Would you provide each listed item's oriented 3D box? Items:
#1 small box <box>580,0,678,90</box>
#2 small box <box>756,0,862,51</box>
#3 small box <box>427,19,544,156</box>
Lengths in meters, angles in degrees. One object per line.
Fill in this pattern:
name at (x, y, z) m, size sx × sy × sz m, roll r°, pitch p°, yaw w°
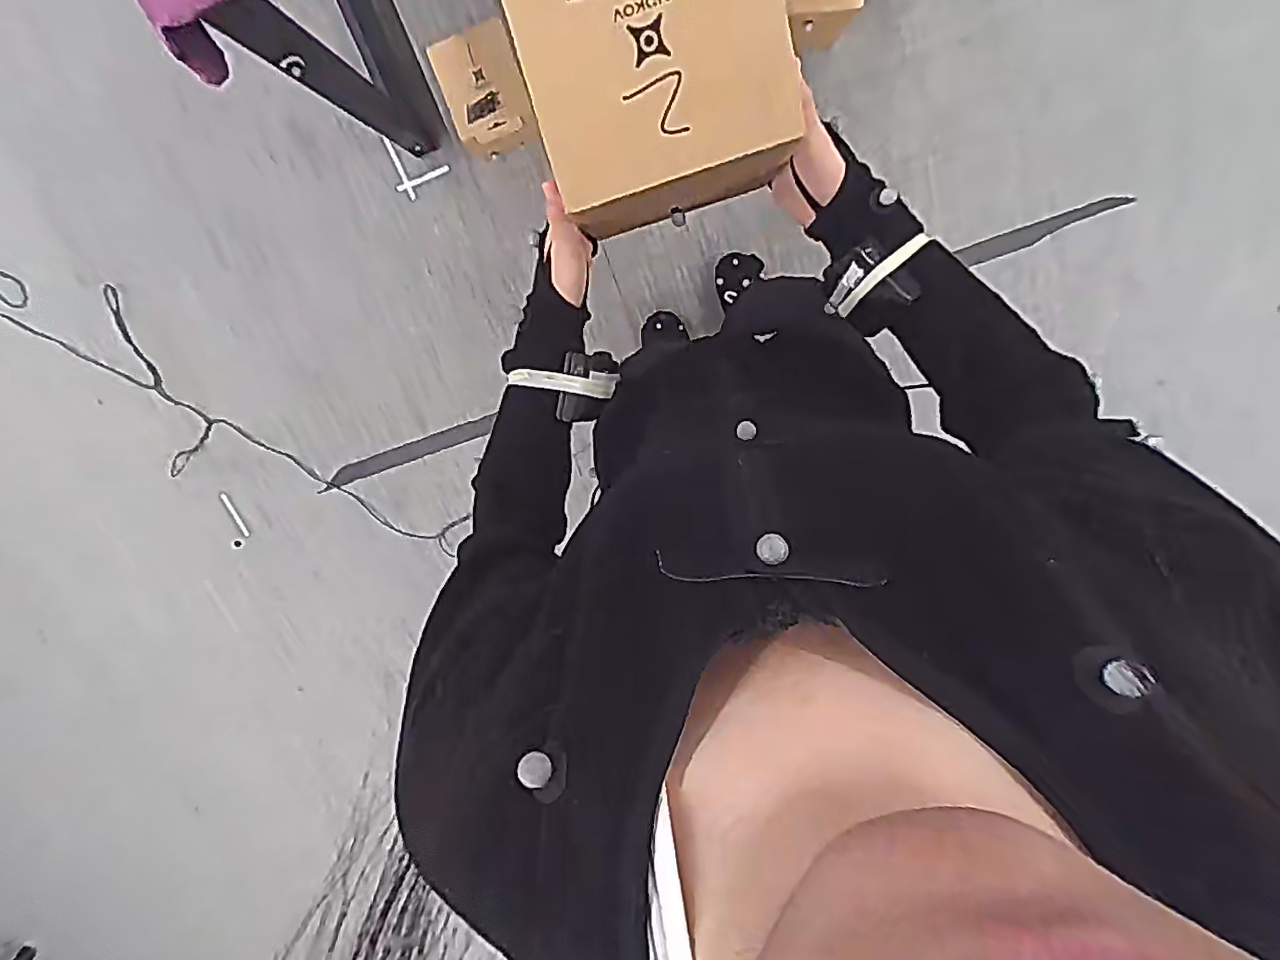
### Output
small box at (-0.025, -0.953, 1.127) m, size 0.168 × 0.176 × 0.179 m, roll -18°, pitch 106°, yaw 5°
small box at (0.343, -1.012, 1.106) m, size 0.179 × 0.176 × 0.168 m, roll -2°, pitch 109°, yaw 3°
small box at (-0.321, -0.828, 1.168) m, size 0.168 × 0.176 × 0.179 m, roll -18°, pitch 106°, yaw 6°
